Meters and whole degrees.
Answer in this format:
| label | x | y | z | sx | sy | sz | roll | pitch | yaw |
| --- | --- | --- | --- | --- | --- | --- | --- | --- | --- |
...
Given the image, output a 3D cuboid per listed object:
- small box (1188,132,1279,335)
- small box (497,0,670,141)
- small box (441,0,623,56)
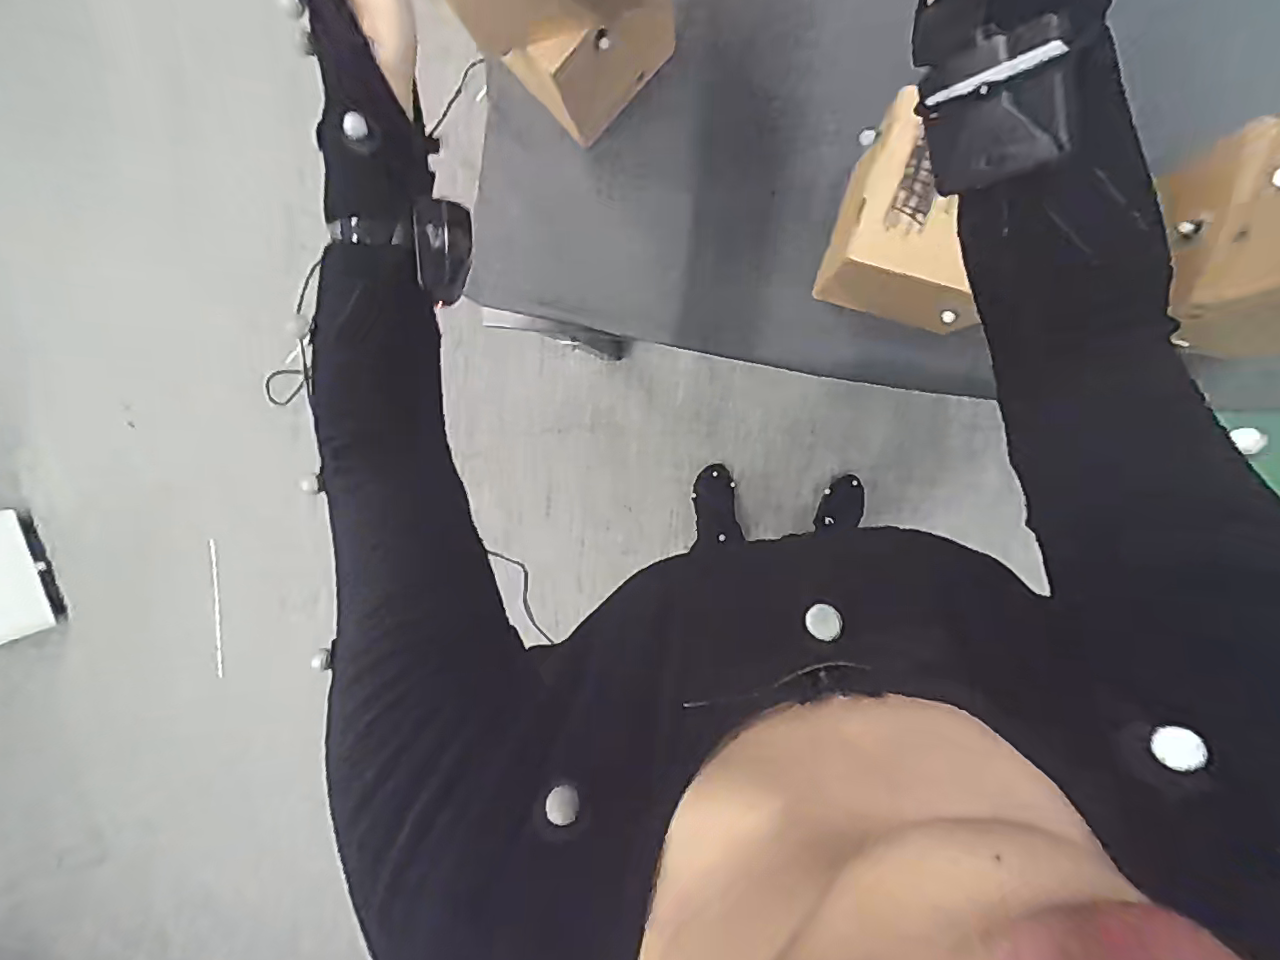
| label | x | y | z | sx | sy | sz | roll | pitch | yaw |
| --- | --- | --- | --- | --- | --- | --- | --- | --- | --- |
| small box | 0.594 | -0.198 | 0.399 | 0.179 | 0.176 | 0.168 | 19 | 99 | 6 |
| small box | -0.084 | -0.537 | 0.612 | 0.168 | 0.176 | 0.179 | -43 | 91 | 11 |
| small box | -0.107 | -0.510 | 0.451 | 0.179 | 0.176 | 0.168 | -11 | 97 | 9 |
